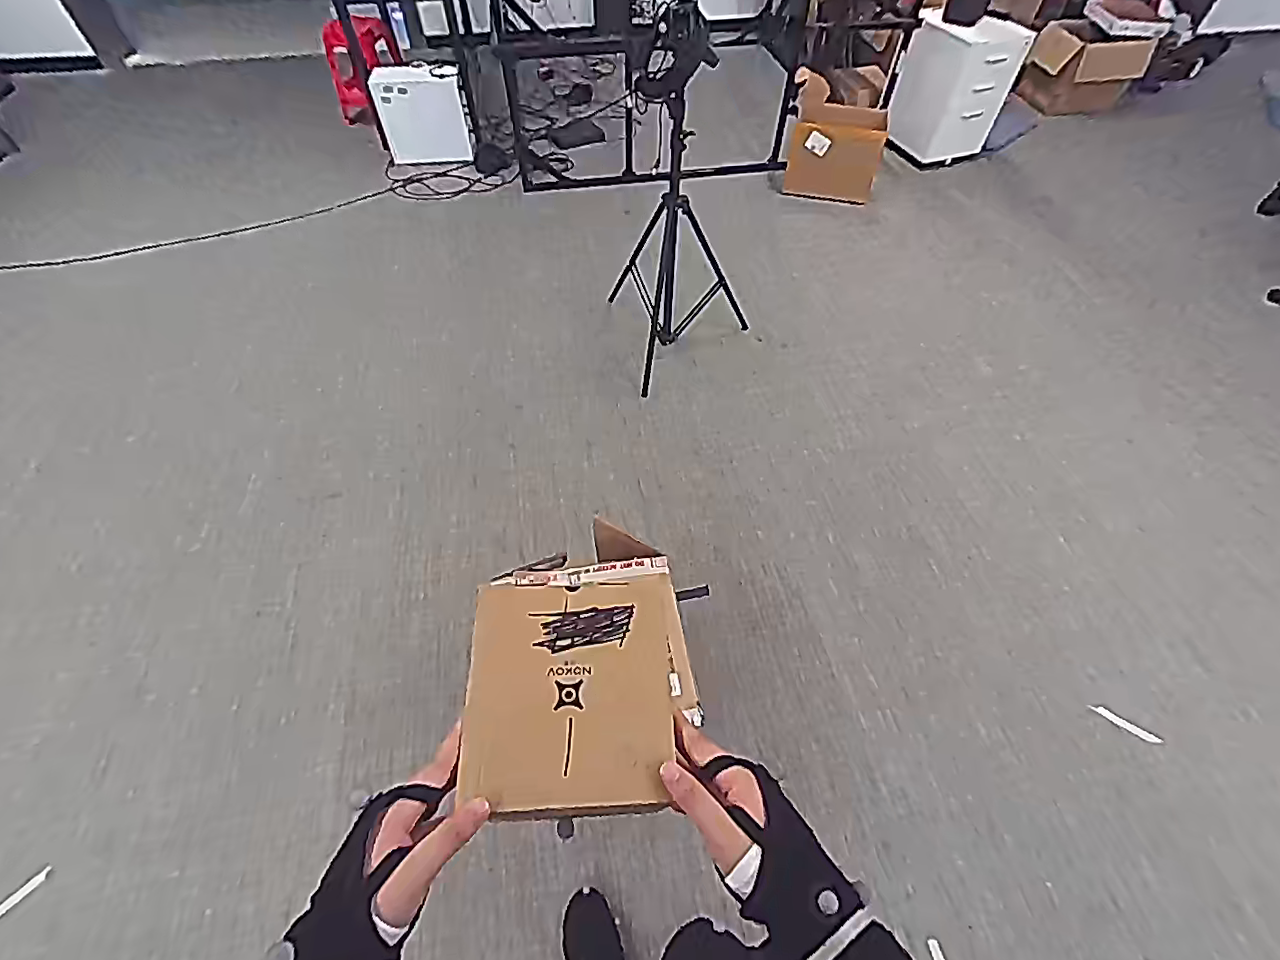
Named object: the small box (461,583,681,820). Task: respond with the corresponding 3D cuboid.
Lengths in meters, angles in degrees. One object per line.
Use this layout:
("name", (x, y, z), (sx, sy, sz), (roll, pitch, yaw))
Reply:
("small box", (-0.059, 0.212, 0.511), (0.168, 0.176, 0.179), (0, 56, -5))
